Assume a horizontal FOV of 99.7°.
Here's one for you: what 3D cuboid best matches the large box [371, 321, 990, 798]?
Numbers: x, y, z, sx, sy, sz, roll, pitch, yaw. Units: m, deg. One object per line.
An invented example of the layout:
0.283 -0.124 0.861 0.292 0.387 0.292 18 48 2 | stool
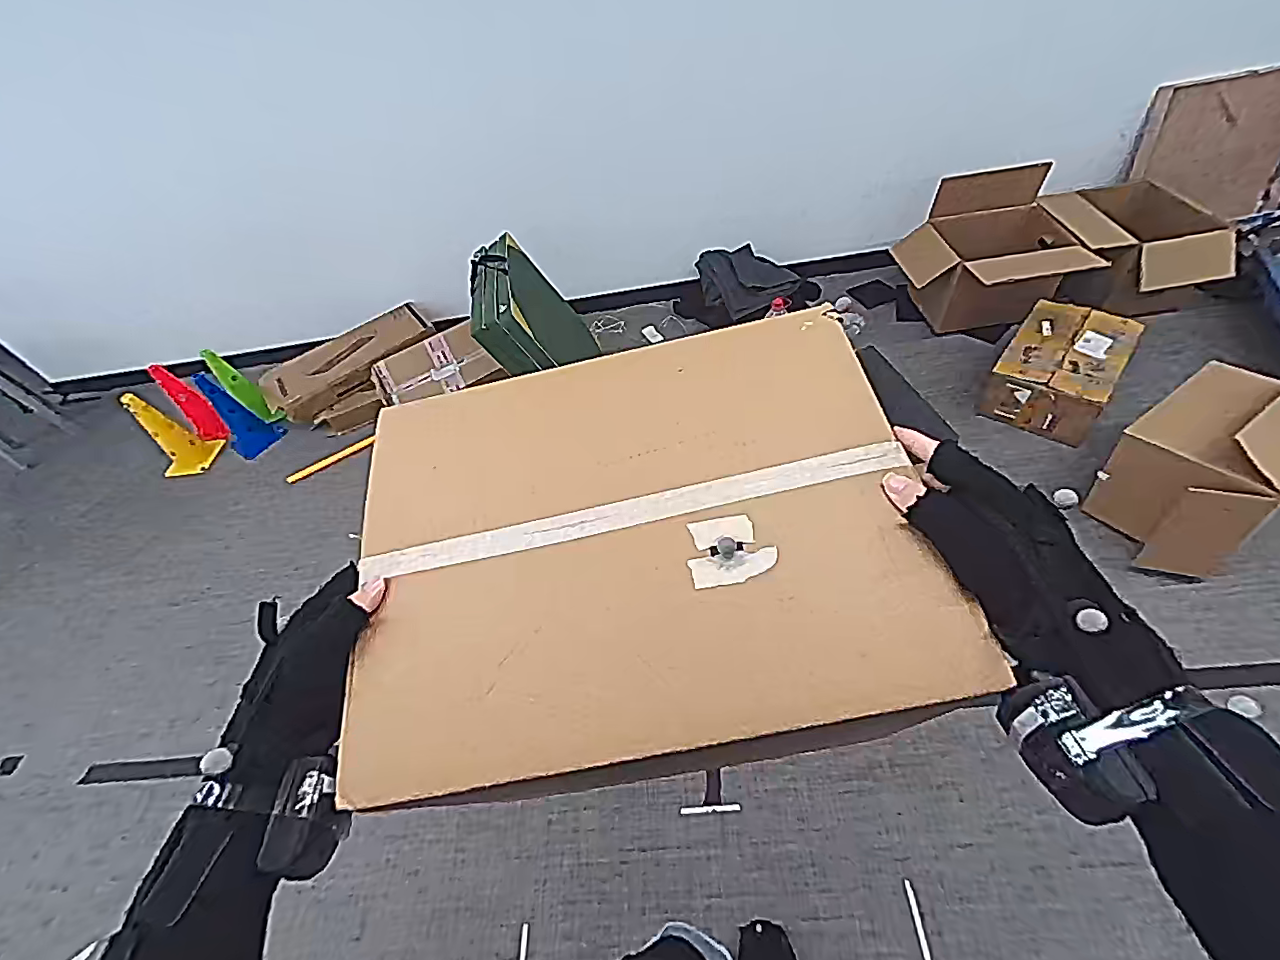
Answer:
0.018 0.103 0.537 0.408 0.320 0.320 -12 60 3 | large box
